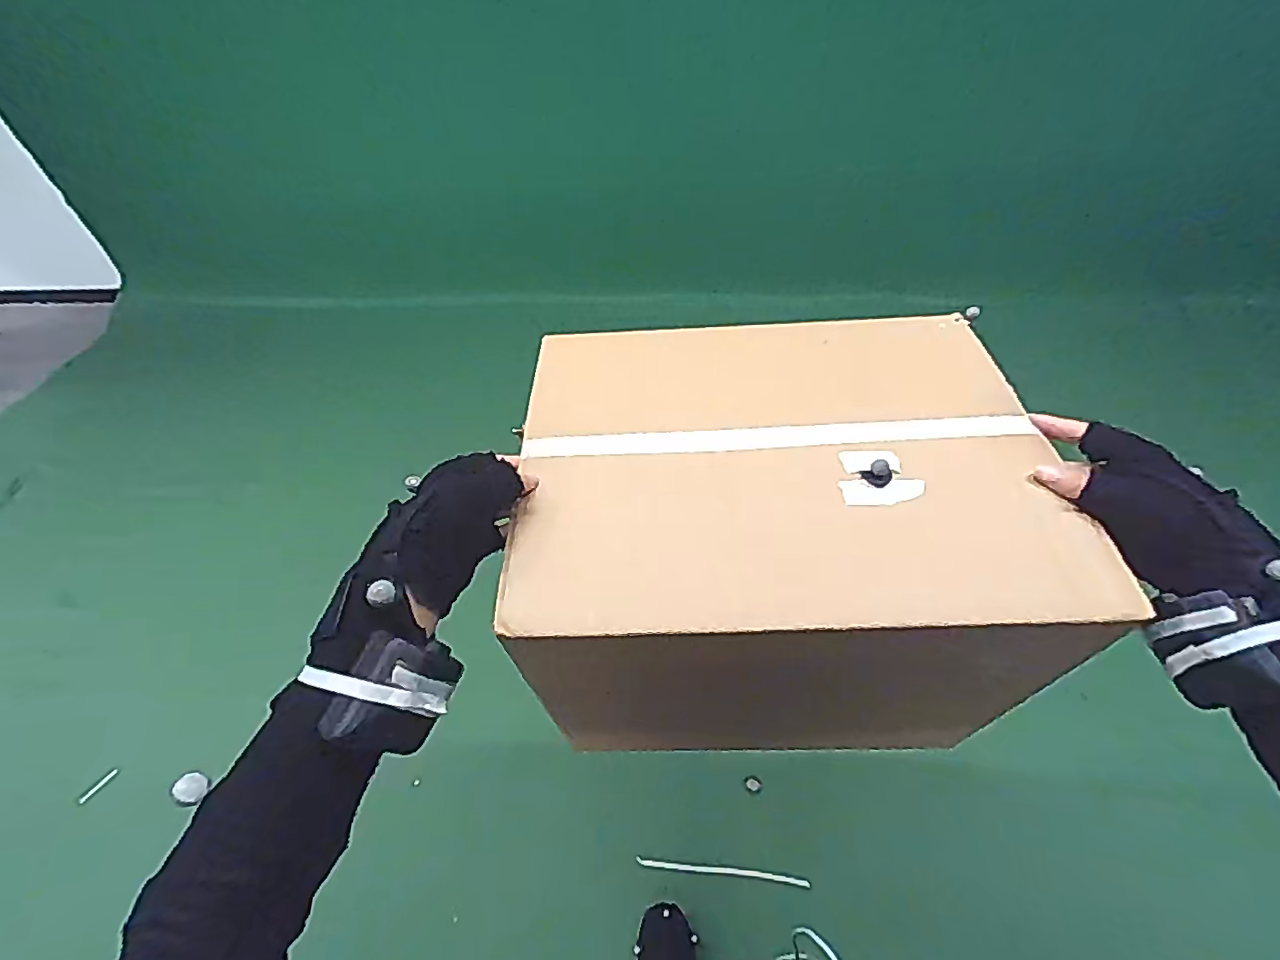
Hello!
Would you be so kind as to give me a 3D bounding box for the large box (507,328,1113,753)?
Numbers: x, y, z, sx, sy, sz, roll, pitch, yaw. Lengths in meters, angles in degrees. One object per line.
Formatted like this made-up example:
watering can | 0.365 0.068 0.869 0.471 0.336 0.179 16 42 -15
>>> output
large box | 0.113 0.073 0.559 0.408 0.320 0.320 -3 51 3
